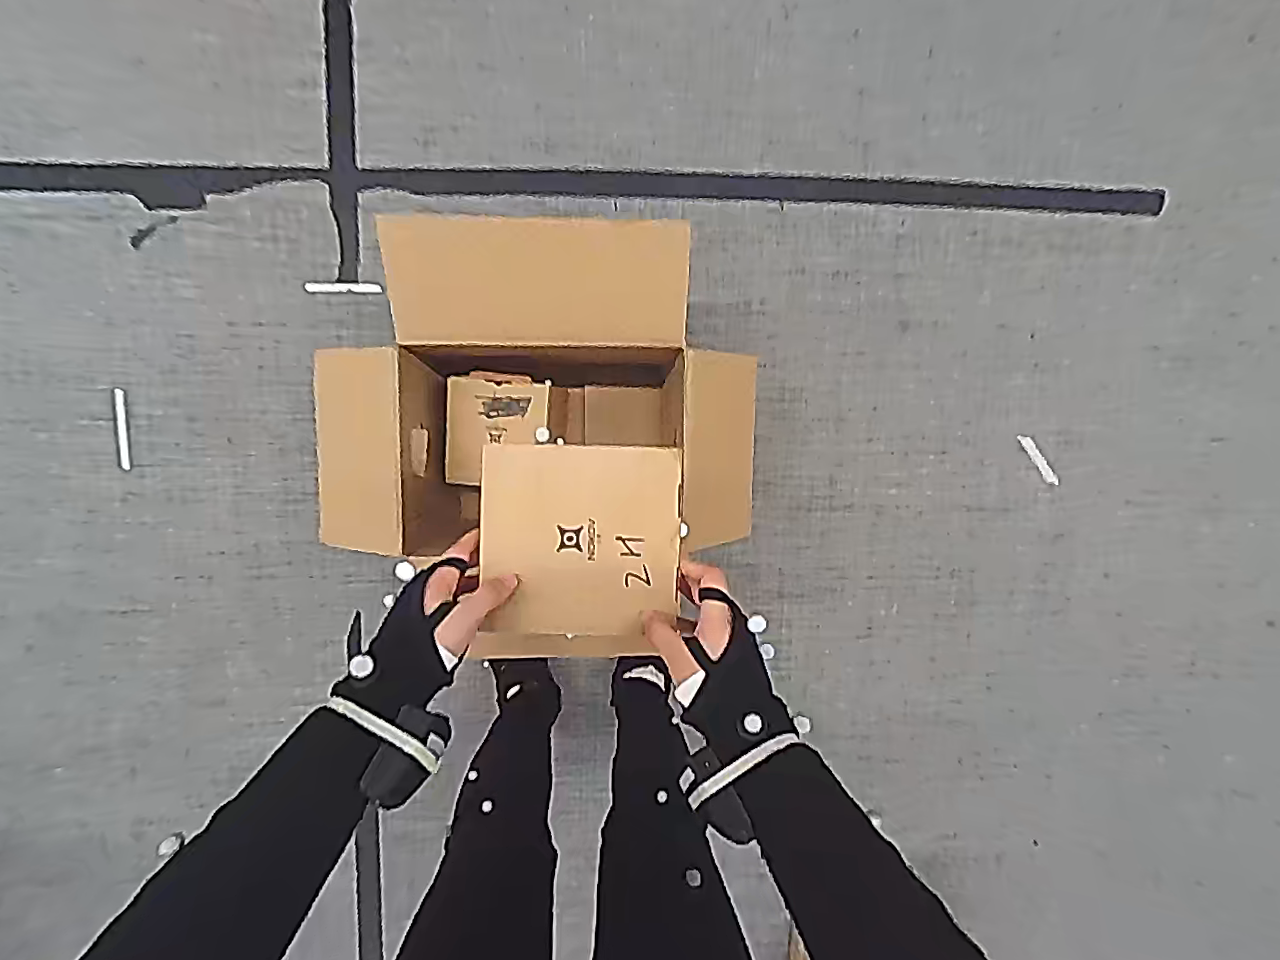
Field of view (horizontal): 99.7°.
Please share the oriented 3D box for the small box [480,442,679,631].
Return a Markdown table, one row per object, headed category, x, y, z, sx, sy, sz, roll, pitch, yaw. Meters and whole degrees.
| category | x | y | z | sx | sy | sz | roll | pitch | yaw |
| --- | --- | --- | --- | --- | --- | --- | --- | --- | --- |
| small box | -0.054 | 0.050 | 0.564 | 0.179 | 0.176 | 0.168 | 2 | 91 | 0 |
